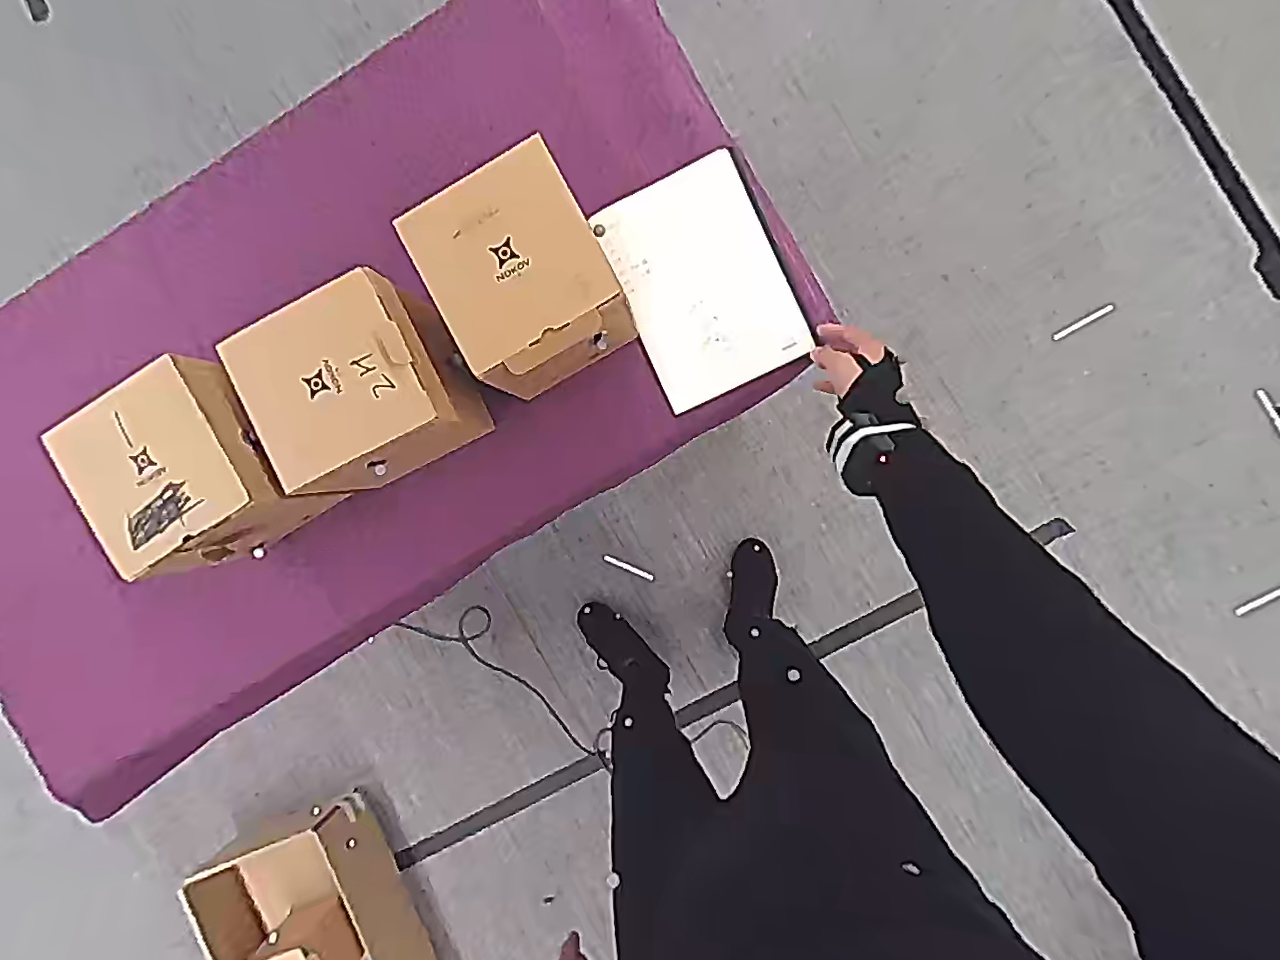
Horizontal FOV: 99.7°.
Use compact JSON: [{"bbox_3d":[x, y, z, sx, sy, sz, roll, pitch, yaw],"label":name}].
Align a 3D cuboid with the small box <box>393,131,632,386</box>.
[{"bbox_3d":[-0.120,-0.215,0.587,0.168,0.176,0.179,-28,89,4],"label":"small box"}]
